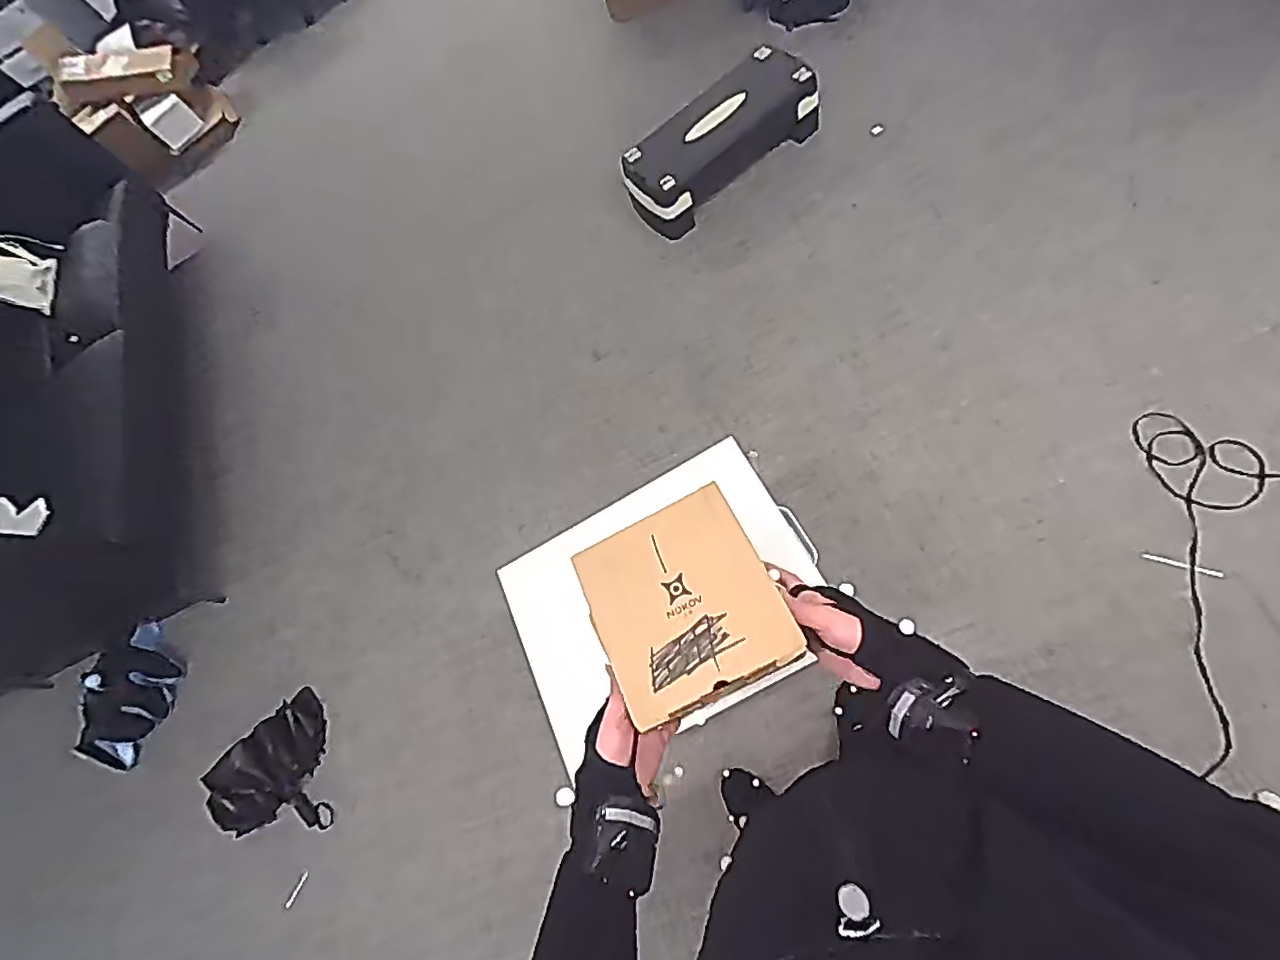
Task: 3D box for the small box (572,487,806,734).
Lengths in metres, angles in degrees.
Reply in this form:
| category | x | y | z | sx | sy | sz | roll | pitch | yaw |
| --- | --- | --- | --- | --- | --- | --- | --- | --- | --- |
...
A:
| category | x | y | z | sx | sy | sz | roll | pitch | yaw |
| --- | --- | --- | --- | --- | --- | --- | --- | --- | --- |
| small box | 0.058 | 0.139 | 0.569 | 0.168 | 0.176 | 0.179 | -29 | 65 | 3 |
